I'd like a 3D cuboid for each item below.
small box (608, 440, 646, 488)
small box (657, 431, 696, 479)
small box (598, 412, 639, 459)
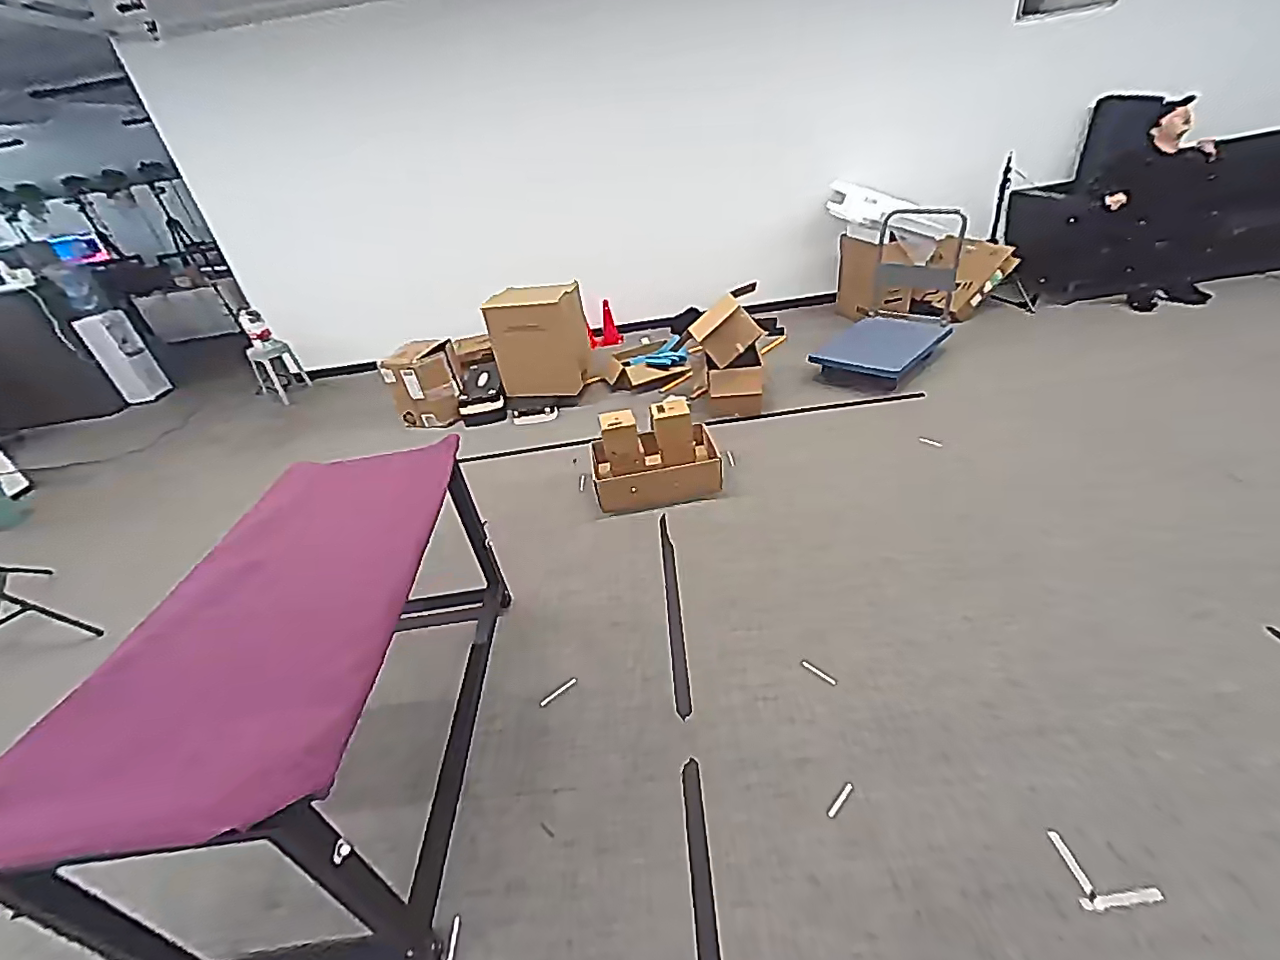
[{"bbox_3d":[-0.069,-0.082,2.740,0.179,0.176,0.168,-10,32,-4],"label":"small box"},{"bbox_3d":[0.186,-0.127,2.750,0.168,0.176,0.179,-11,33,-1],"label":"small box"},{"bbox_3d":[-0.106,-0.212,2.645,0.168,0.176,0.179,-10,32,-4],"label":"small box"}]
